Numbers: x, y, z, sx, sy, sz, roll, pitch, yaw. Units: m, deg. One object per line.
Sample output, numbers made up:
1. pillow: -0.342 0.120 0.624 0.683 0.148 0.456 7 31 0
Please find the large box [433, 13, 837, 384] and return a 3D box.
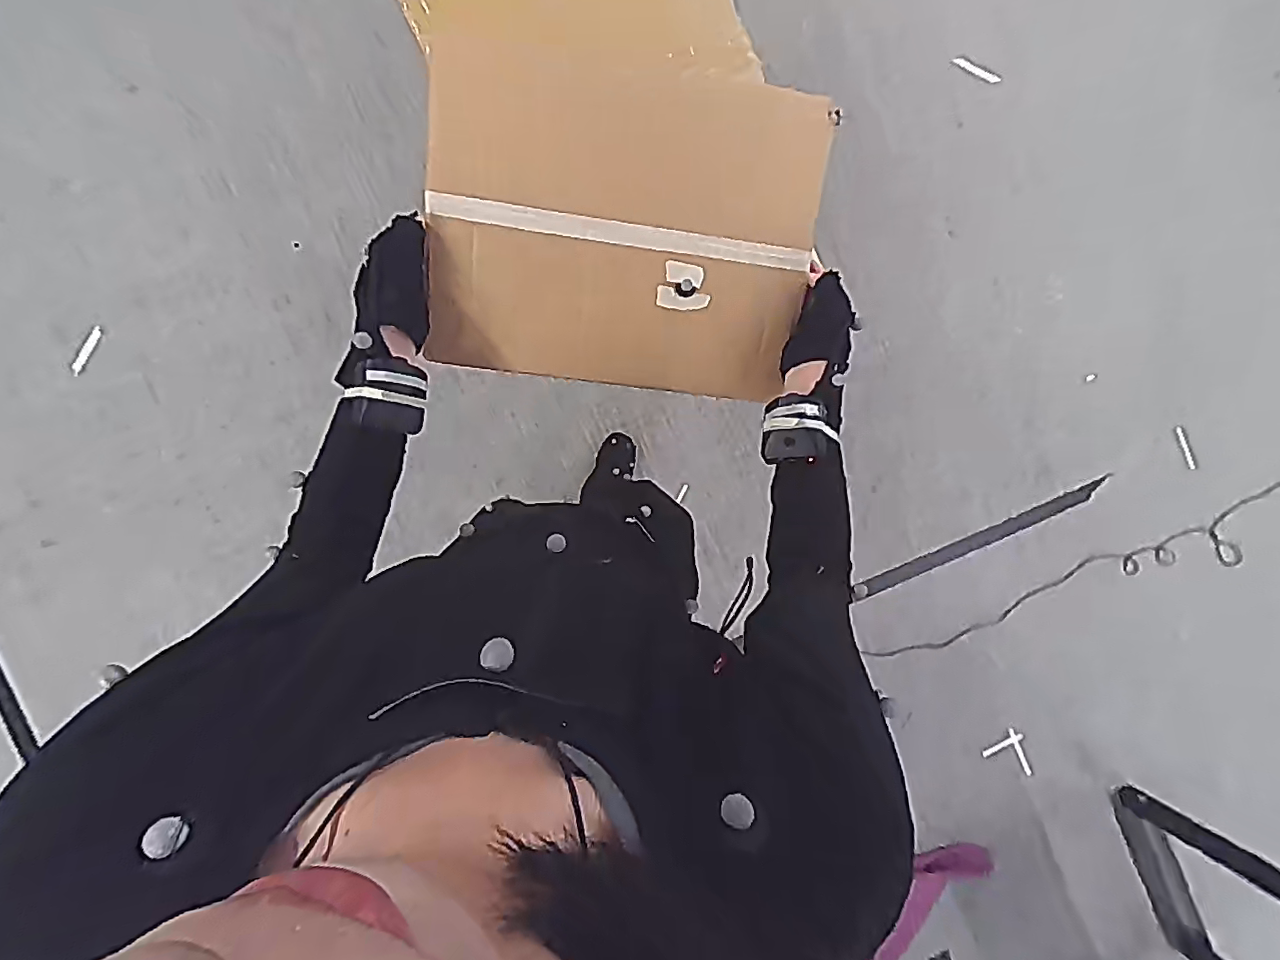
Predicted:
1. large box: -0.028 -0.310 0.701 0.408 0.320 0.320 4 106 -9
